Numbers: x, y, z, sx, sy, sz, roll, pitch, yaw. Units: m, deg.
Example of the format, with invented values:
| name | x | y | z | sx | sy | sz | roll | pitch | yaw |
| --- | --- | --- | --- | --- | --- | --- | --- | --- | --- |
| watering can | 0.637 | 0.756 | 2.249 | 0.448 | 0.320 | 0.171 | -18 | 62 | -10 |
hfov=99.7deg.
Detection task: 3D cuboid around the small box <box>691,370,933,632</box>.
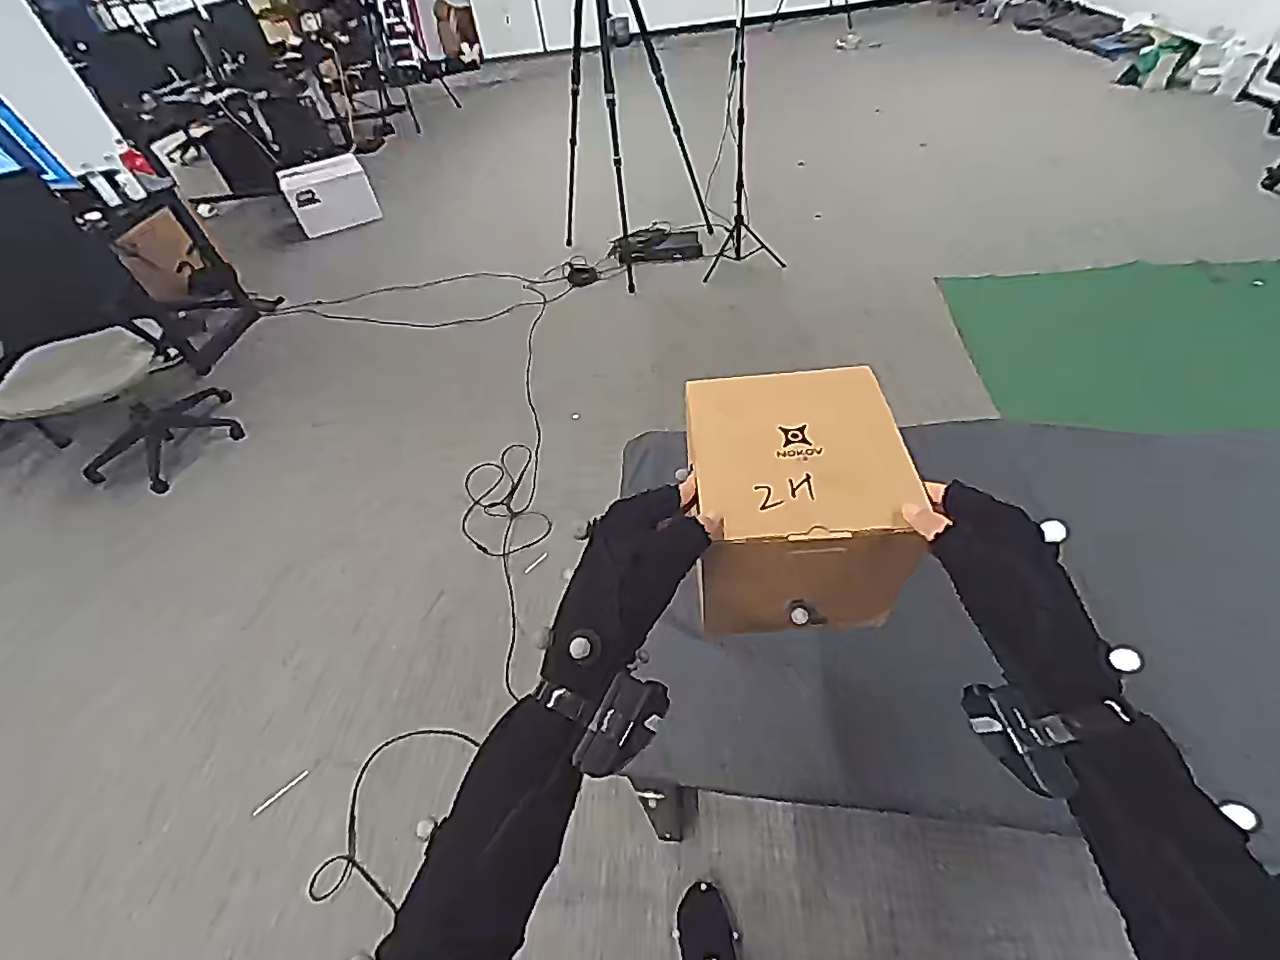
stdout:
| name | x | y | z | sx | sy | sz | roll | pitch | yaw |
| --- | --- | --- | --- | --- | --- | --- | --- | --- | --- |
| small box | 0.134 | 0.022 | 0.501 | 0.168 | 0.176 | 0.179 | -4 | 51 | 4 |
